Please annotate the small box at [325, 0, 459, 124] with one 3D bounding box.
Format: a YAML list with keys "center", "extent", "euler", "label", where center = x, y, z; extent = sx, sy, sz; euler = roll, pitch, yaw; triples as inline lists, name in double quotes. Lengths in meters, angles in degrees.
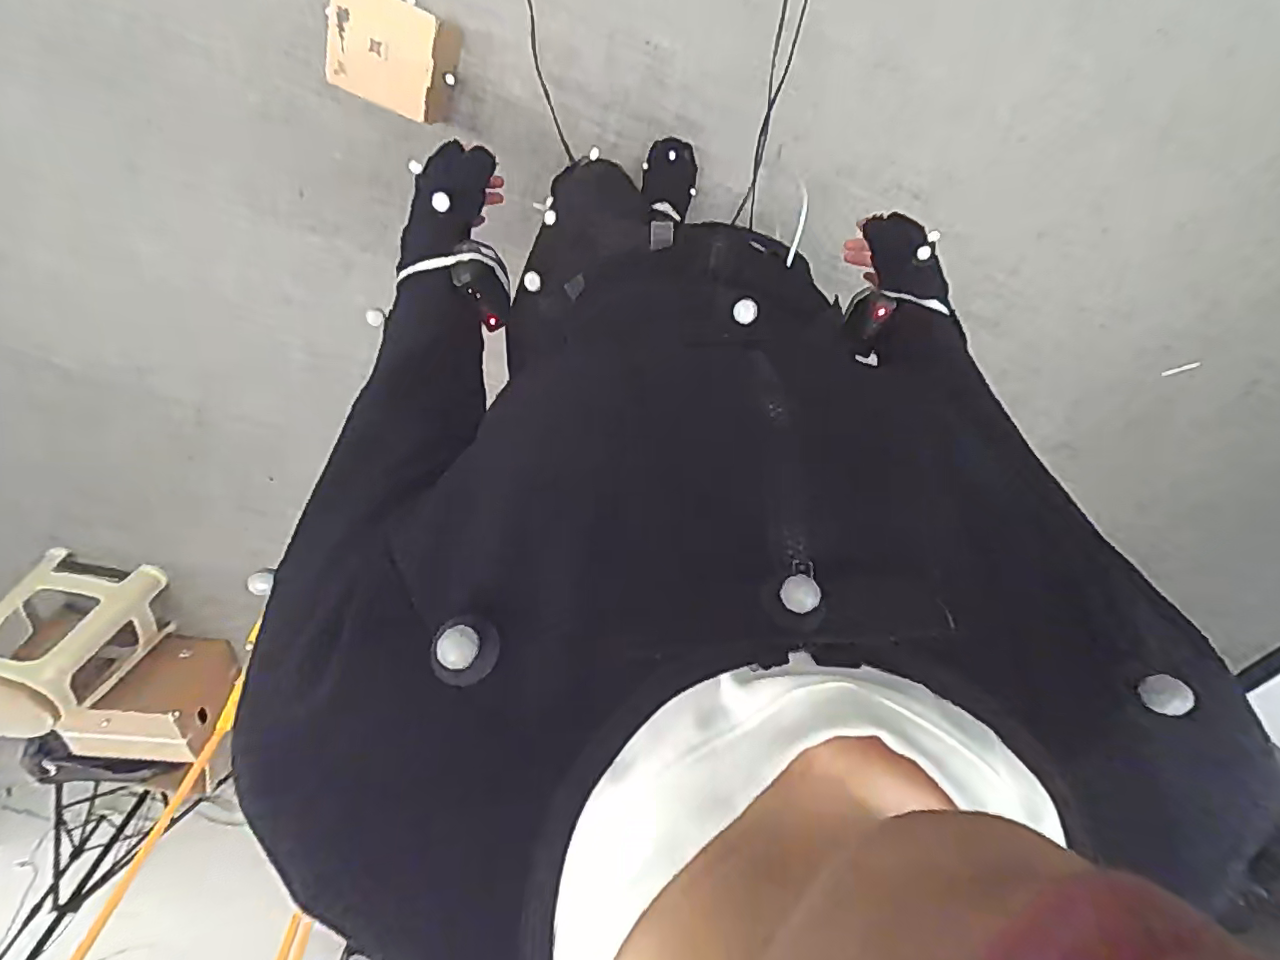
- center: [-0.453, -0.795, 1.006]
  extent: [0.179, 0.176, 0.168]
  euler: [18, 122, -14]
  label: "small box"
